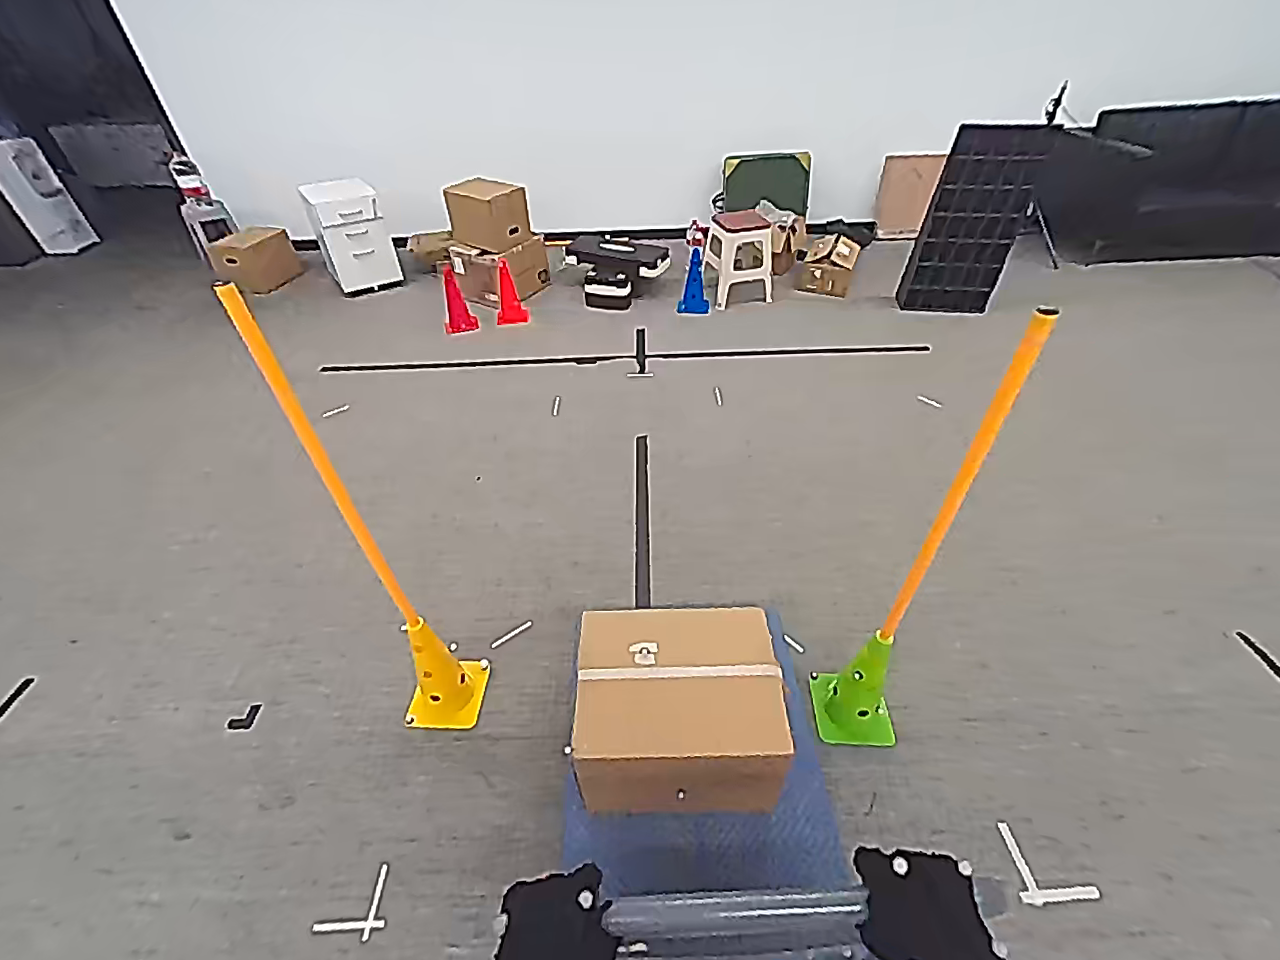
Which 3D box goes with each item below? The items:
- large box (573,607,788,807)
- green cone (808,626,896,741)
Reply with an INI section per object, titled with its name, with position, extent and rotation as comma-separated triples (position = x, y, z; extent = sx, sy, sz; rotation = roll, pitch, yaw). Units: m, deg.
[large box]
position = 0.079, 0.505, 1.197
extent = 0.408, 0.320, 0.320
rotation = -2, 42, 1
[green cone]
position = 0.583, 0.498, 1.399
extent = 0.202, 0.368, 0.200
rotation = 2, 42, 2
